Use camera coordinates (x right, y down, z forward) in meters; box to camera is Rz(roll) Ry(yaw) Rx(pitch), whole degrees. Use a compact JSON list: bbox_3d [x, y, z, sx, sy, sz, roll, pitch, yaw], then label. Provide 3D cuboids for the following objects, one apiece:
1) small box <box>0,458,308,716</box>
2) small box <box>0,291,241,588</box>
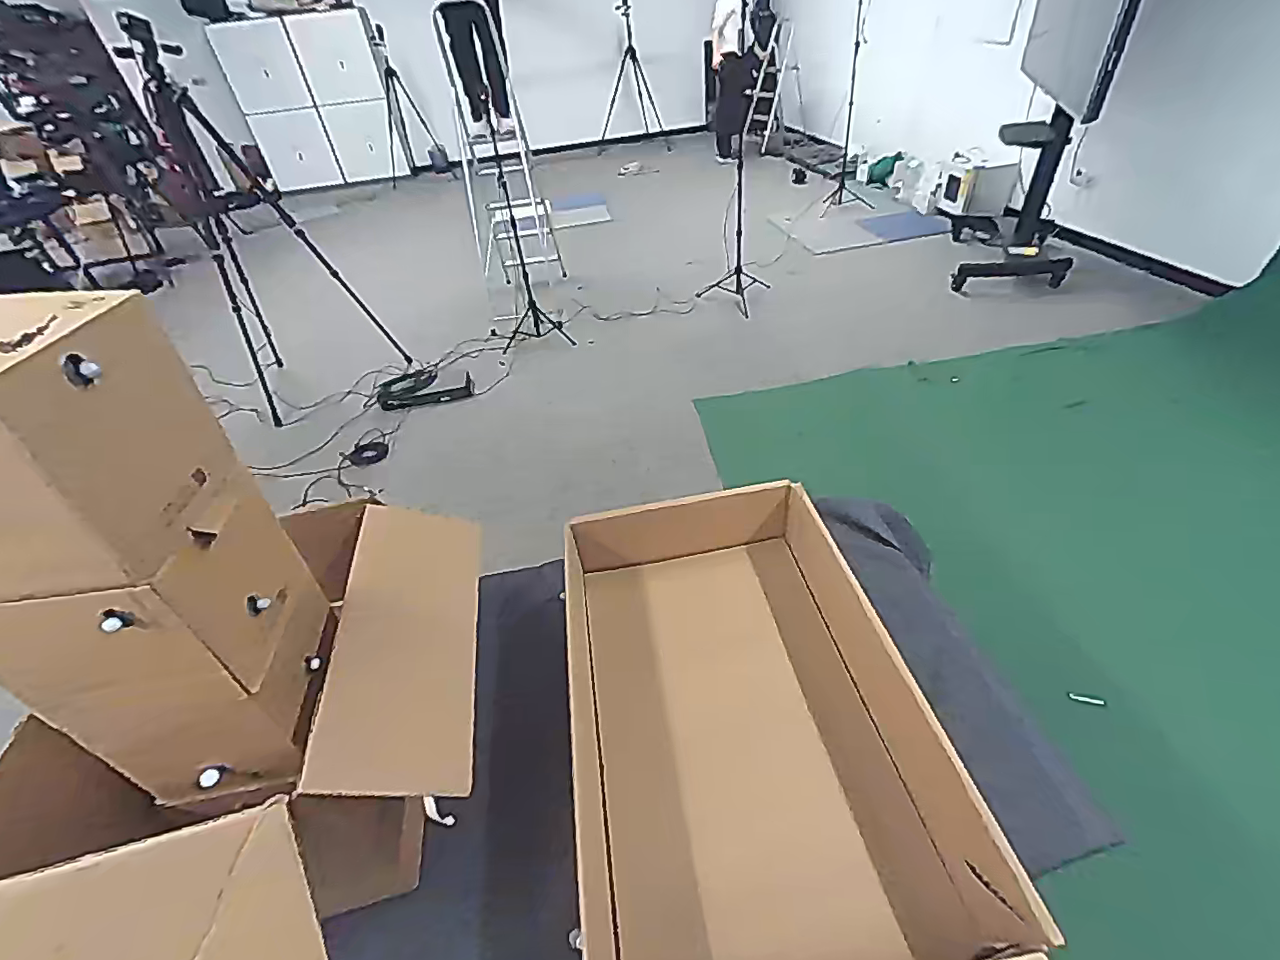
[{"bbox_3d":[-0.461,0.101,0.515,0.179,0.176,0.168,-6,40,-7],"label":"small box"},{"bbox_3d":[-0.464,-0.029,0.413,0.179,0.176,0.168,-6,39,-5],"label":"small box"}]
